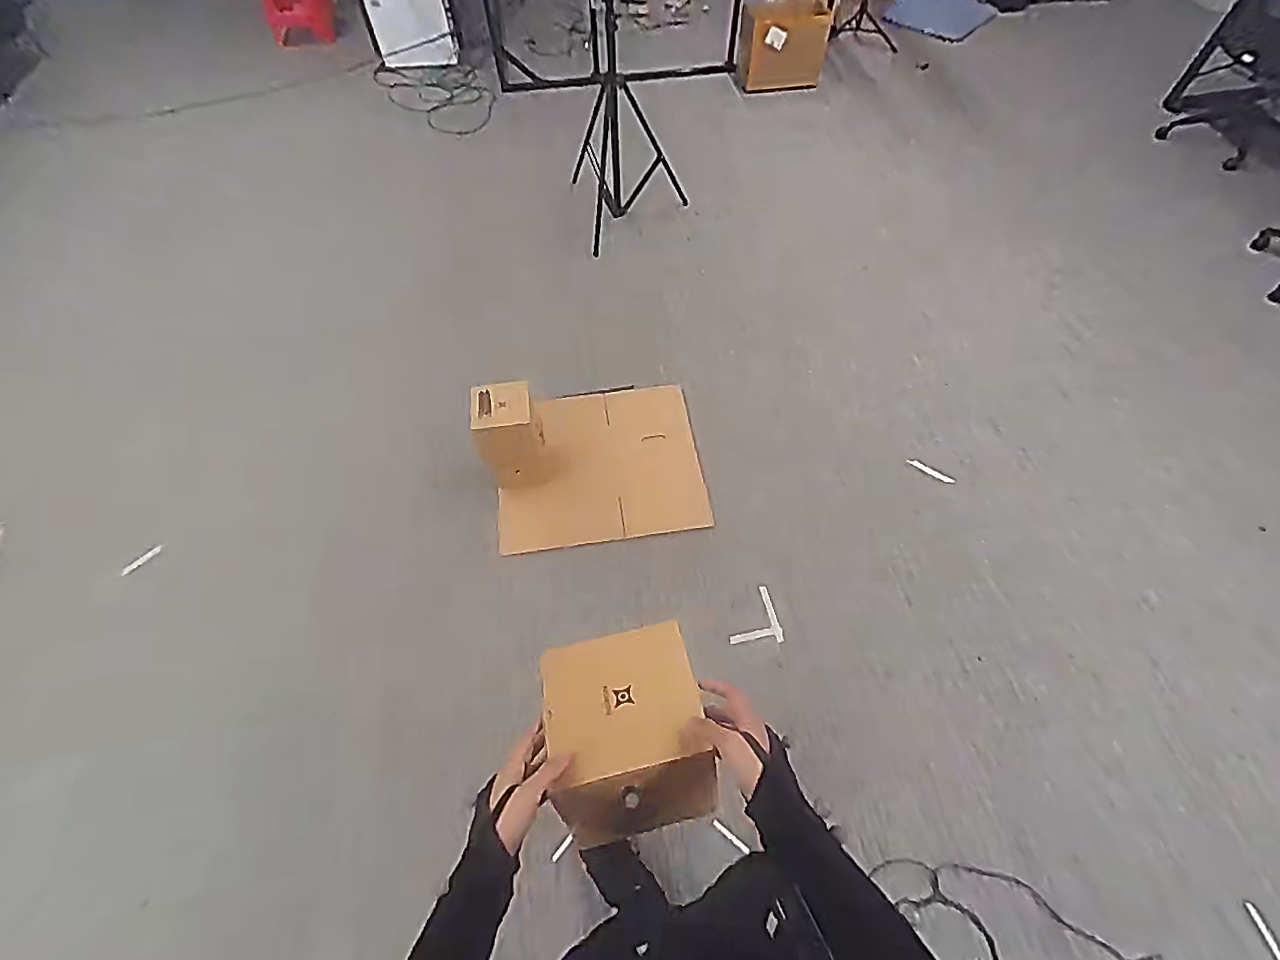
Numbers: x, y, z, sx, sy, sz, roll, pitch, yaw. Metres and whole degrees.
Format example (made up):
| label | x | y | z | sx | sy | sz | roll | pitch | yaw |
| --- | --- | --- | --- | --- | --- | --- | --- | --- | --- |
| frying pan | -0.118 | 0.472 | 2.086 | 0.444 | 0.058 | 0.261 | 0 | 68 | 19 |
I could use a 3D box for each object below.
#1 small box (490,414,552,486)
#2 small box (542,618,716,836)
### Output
| label | x | y | z | sx | sy | sz | roll | pitch | yaw |
| --- | --- | --- | --- | --- | --- | --- | --- | --- | --- |
| small box | -0.394 | -0.097 | 1.807 | 0.179 | 0.176 | 0.168 | -8 | 59 | -3 |
| small box | -0.011 | 0.300 | 0.658 | 0.179 | 0.176 | 0.168 | -14 | 41 | -3 |
